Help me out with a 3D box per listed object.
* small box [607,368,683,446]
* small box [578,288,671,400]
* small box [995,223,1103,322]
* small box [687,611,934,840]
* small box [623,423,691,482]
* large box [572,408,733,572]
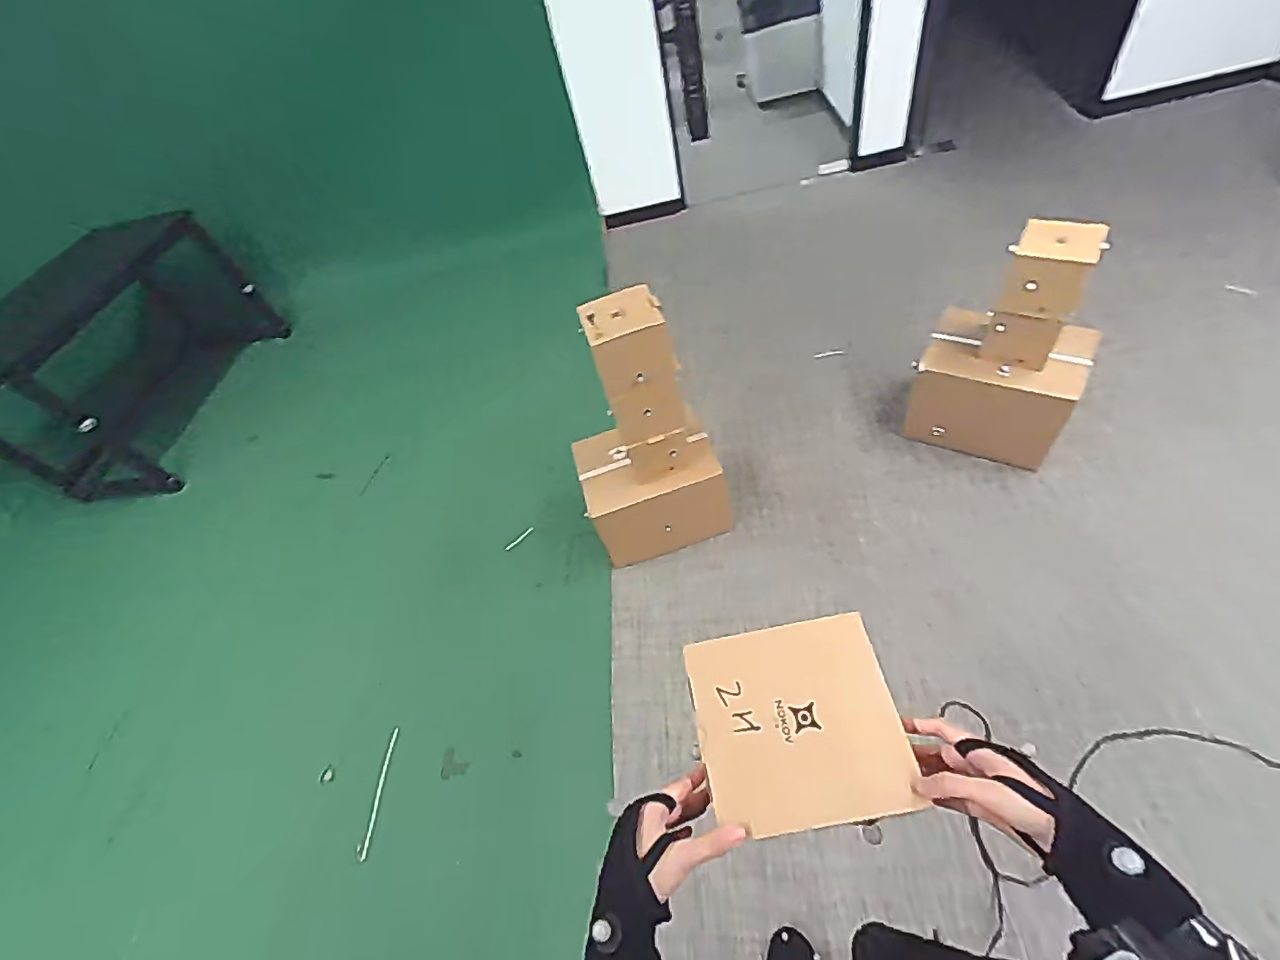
[{"bbox_3d":[0.005,-0.219,1.412,0.179,0.176,0.168,-20,50,-1],"label":"small box"},{"bbox_3d":[-0.031,-0.321,1.288,0.179,0.176,0.168,-18,50,-1],"label":"small box"},{"bbox_3d":[1.035,-0.529,1.380,0.168,0.176,0.179,21,58,29],"label":"small box"},{"bbox_3d":[0.151,0.249,0.539,0.179,0.176,0.168,-12,55,4],"label":"small box"},{"bbox_3d":[0.036,-0.116,1.535,0.168,0.176,0.179,-19,50,0],"label":"small box"},{"bbox_3d":[0.044,0.038,1.730,0.408,0.320,0.320,-20,49,0],"label":"large box"}]
